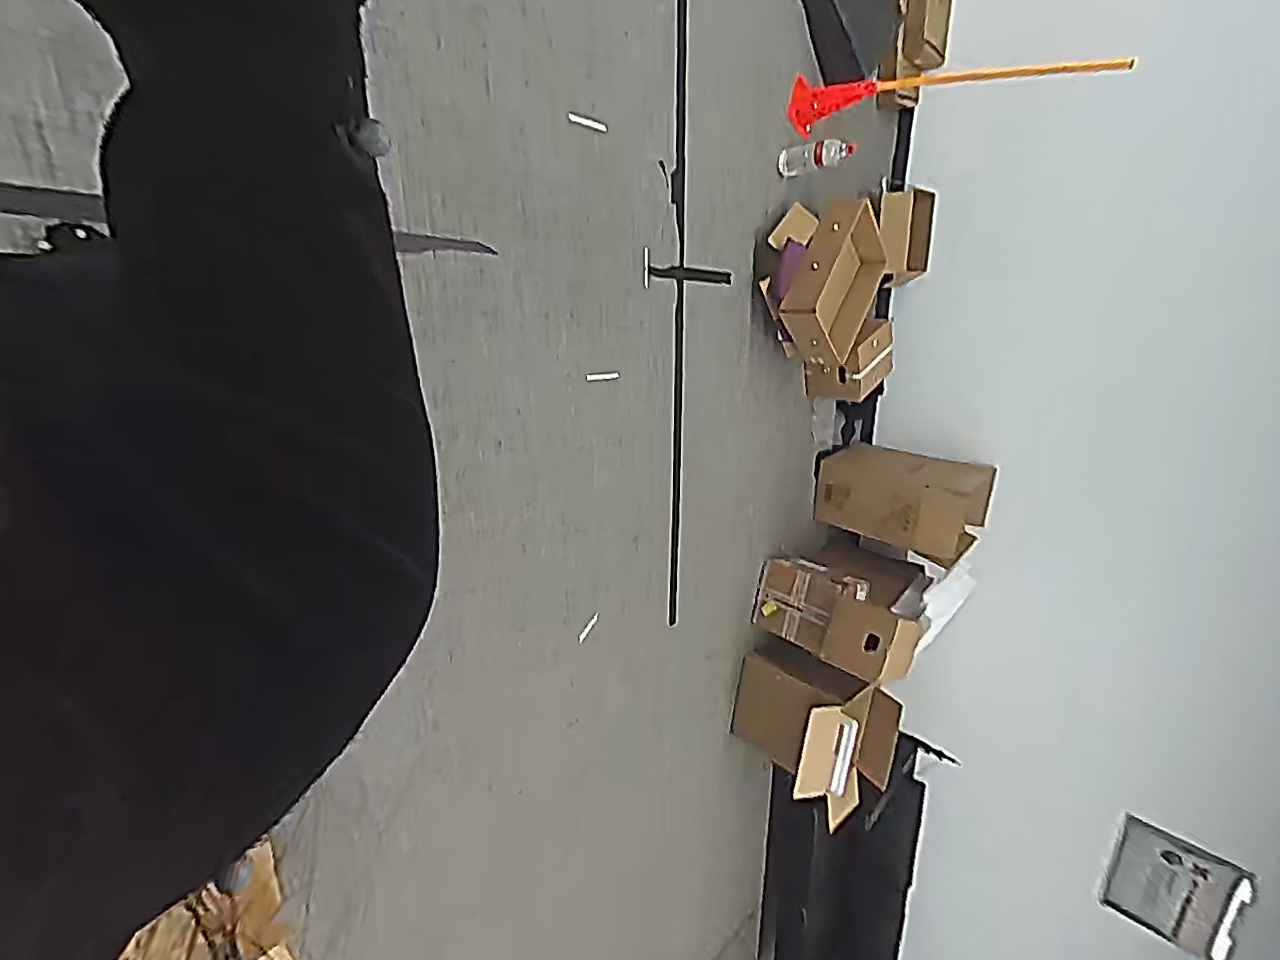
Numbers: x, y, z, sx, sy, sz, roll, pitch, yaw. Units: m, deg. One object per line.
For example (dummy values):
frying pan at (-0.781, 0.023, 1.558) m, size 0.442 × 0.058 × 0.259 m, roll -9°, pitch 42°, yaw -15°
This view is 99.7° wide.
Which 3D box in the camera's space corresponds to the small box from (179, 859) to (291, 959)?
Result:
small box at (-1.020, 1.116, 1.363) m, size 0.168 × 0.176 × 0.179 m, roll -28°, pitch 120°, yaw -39°
